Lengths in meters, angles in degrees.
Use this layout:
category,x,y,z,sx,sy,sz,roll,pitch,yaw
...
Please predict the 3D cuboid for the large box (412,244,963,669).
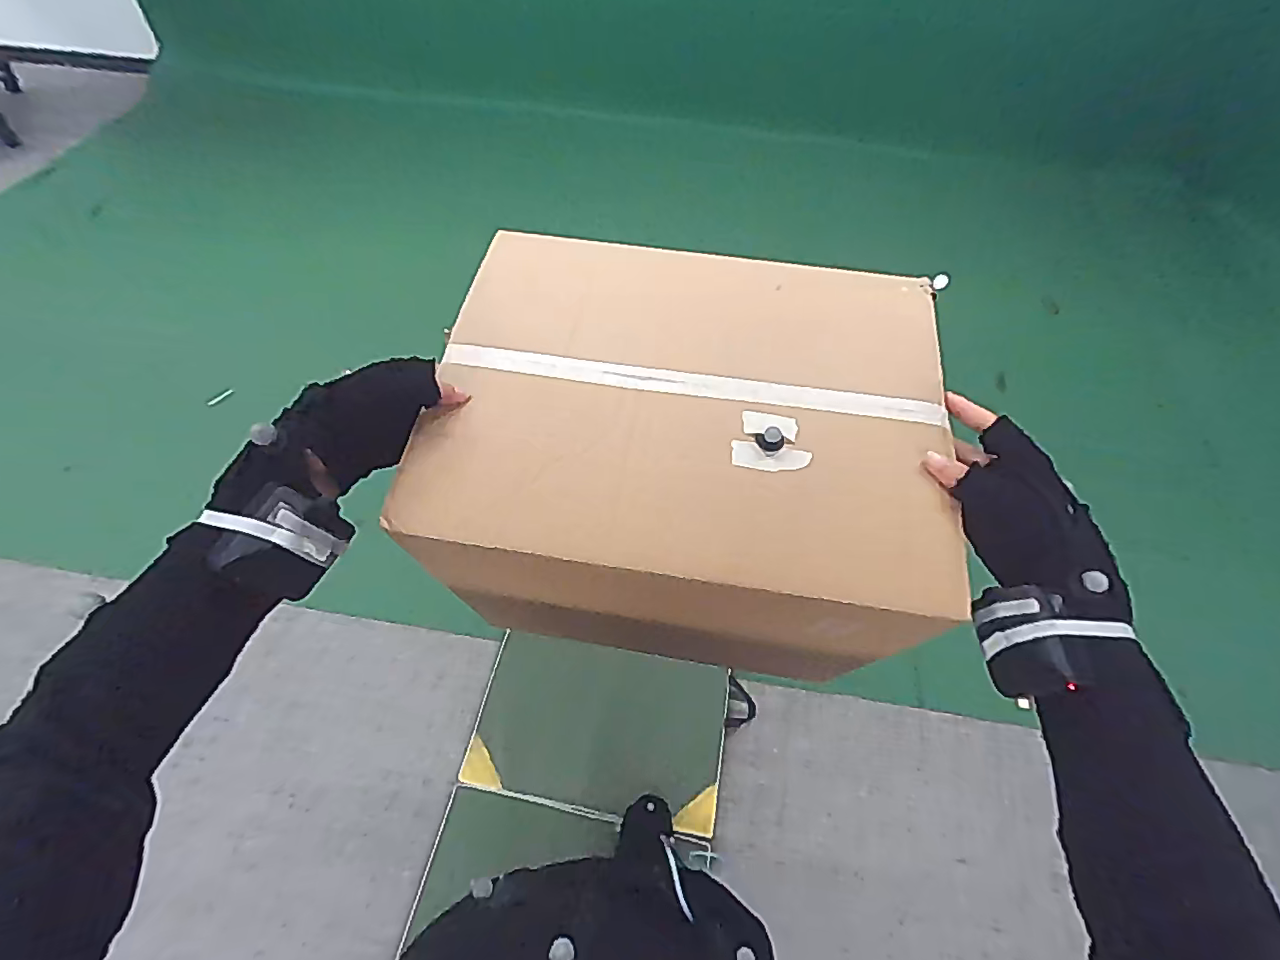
category,x,y,z,sx,sy,sz,roll,pitch,yaw
large box,0.045,-0.004,0.582,0.408,0.320,0.320,9,63,3
